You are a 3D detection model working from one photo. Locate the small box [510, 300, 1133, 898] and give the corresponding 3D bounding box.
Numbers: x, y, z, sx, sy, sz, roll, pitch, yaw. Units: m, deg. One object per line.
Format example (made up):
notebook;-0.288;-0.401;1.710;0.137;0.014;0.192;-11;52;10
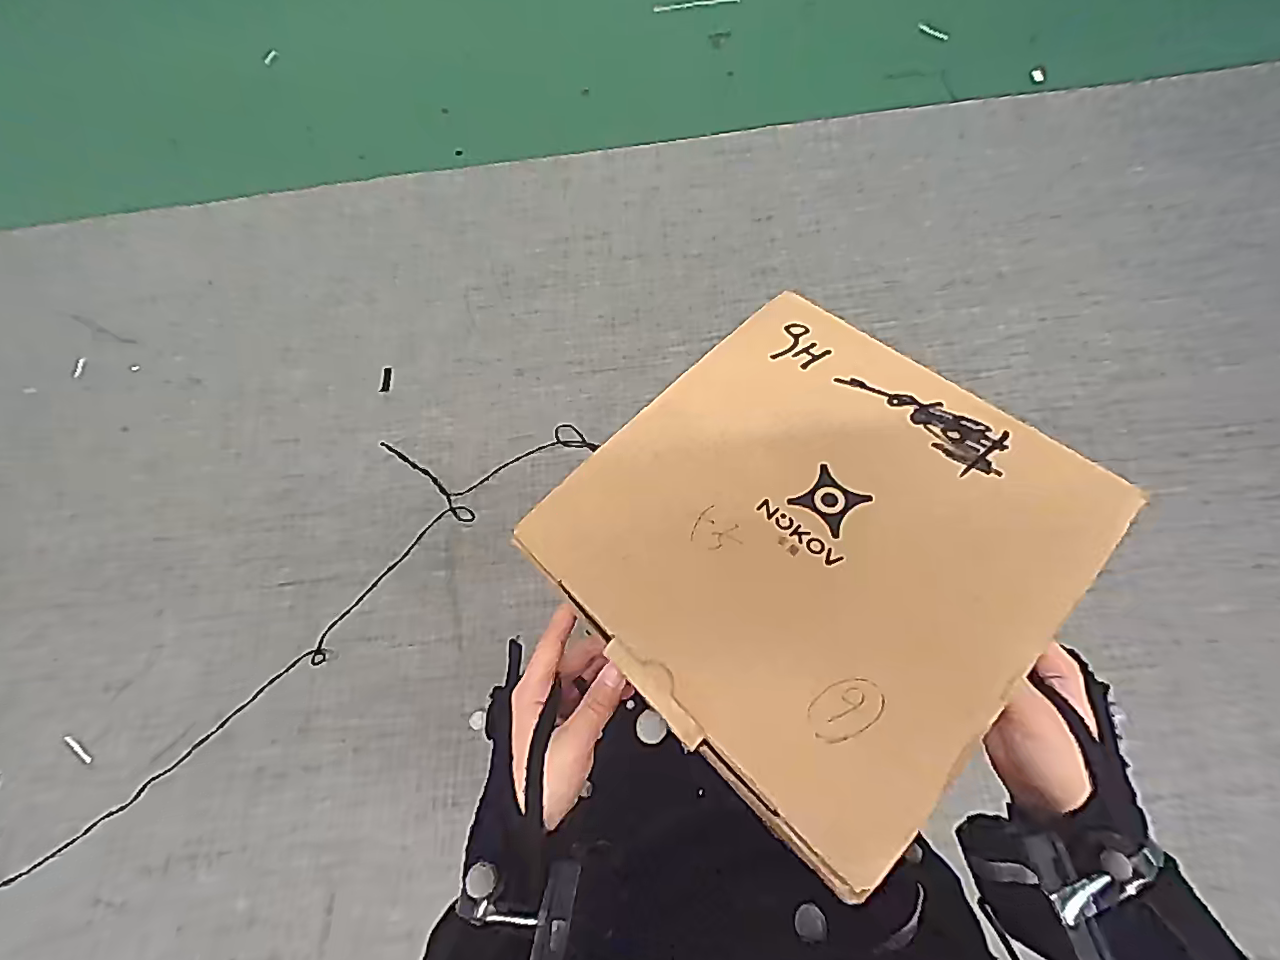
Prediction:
small box;0.072;0.054;0.276;0.179;0.176;0.168;-42;65;-14
